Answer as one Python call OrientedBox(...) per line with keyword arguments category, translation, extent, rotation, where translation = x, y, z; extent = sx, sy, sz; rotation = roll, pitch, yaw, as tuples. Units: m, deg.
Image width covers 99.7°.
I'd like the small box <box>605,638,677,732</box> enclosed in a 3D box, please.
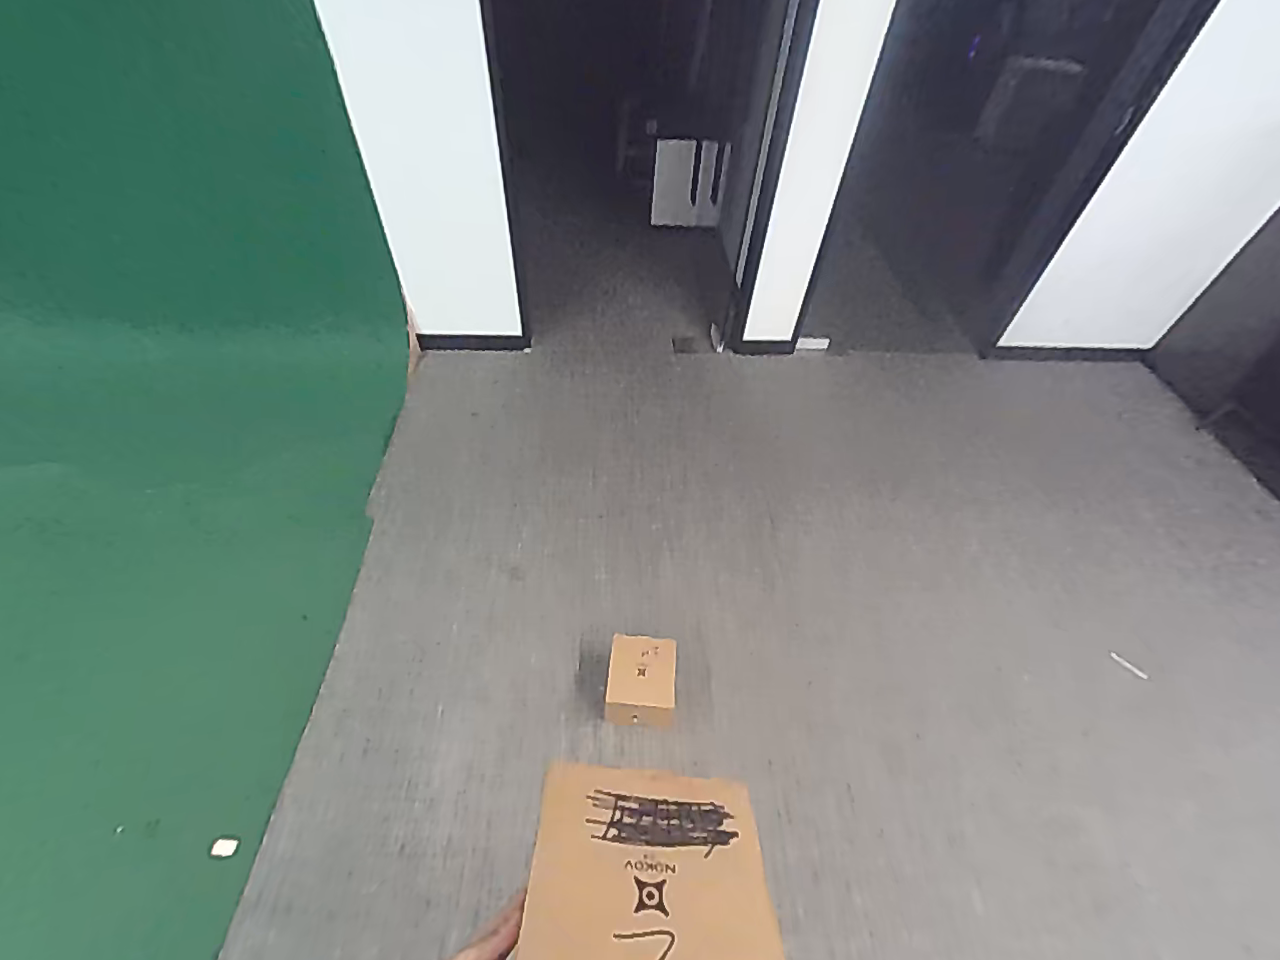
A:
OrientedBox(category="small box", translation=(0.003, 0.532, 1.389), extent=(0.168, 0.176, 0.179), rotation=(6, 49, 1))
